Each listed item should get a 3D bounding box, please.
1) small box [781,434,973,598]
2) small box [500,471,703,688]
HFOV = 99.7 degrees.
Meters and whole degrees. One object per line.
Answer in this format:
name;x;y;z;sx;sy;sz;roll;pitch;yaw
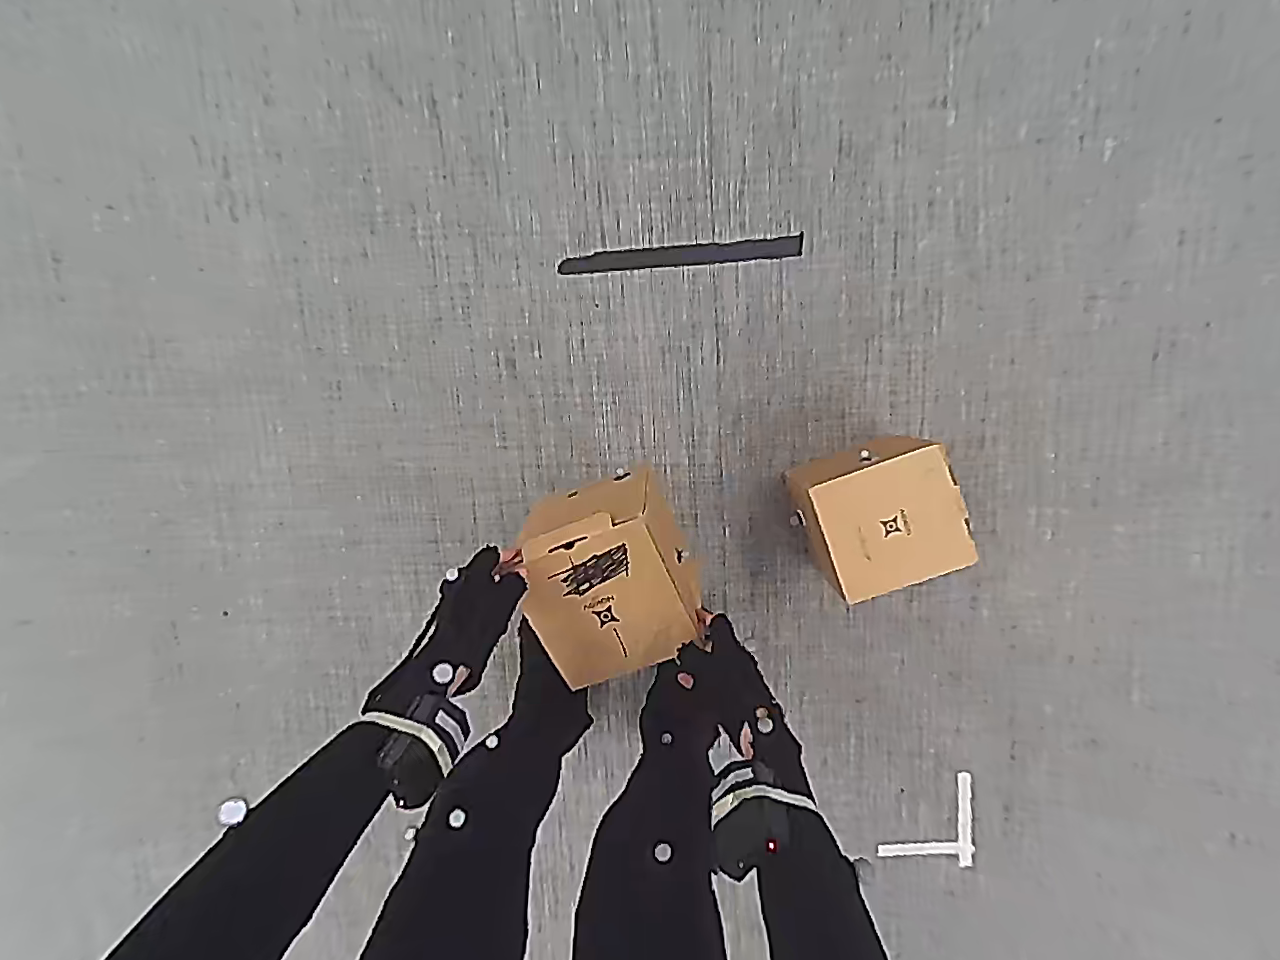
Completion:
small box;0.321;0.040;0.767;0.179;0.176;0.168;-21;95;6
small box;-0.037;0.104;0.645;0.168;0.176;0.179;-22;107;10
